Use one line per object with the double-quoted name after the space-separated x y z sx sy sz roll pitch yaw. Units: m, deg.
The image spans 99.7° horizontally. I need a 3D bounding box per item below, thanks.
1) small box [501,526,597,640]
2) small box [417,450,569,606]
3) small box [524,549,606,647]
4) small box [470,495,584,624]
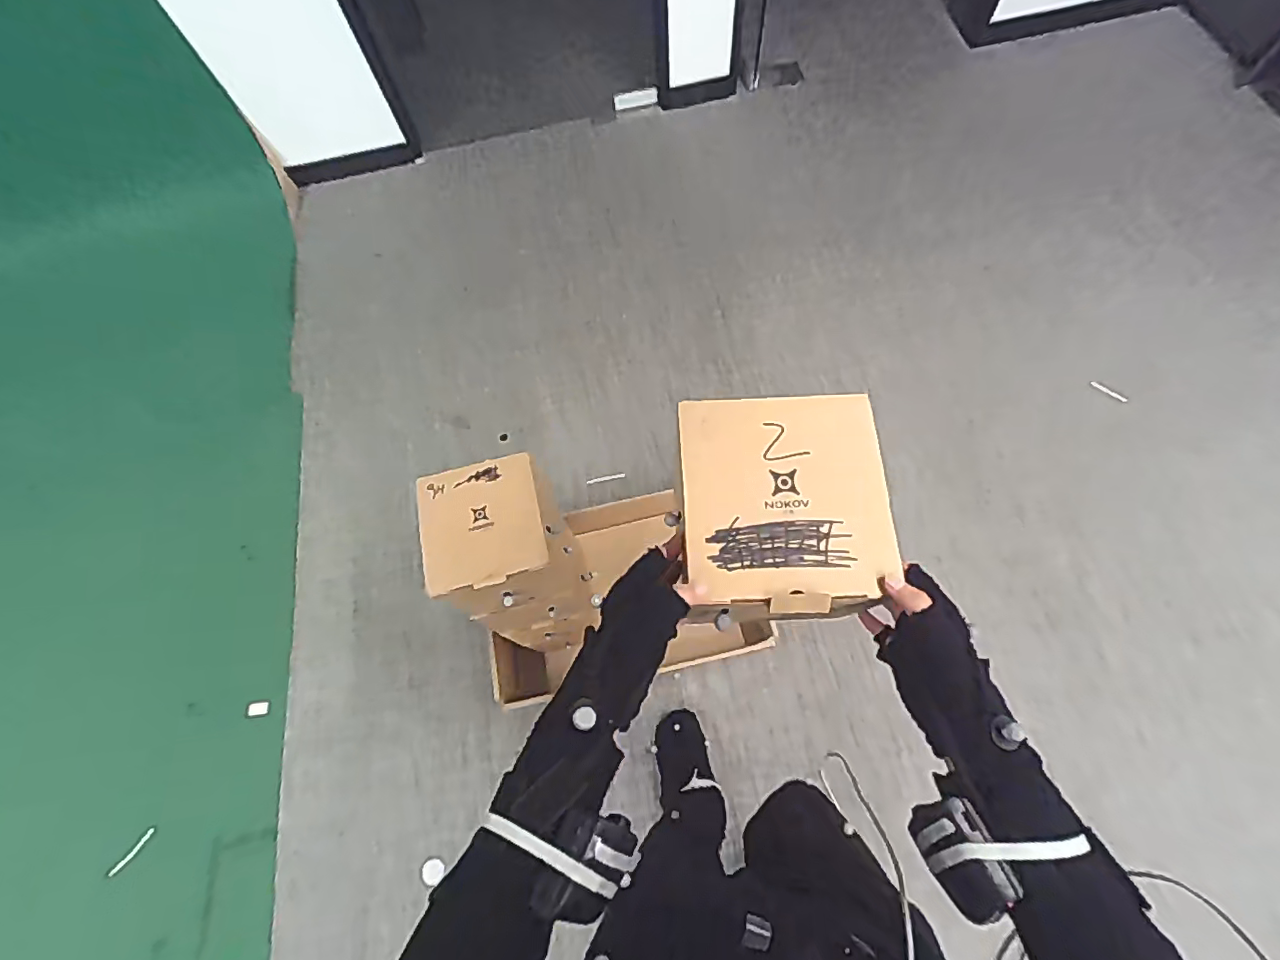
-0.189 0.214 1.102 0.168 0.176 0.179 -13 67 -2 "small box"
-0.210 0.082 0.803 0.168 0.176 0.179 -14 68 -4 "small box"
-0.178 0.277 1.252 0.168 0.176 0.179 -12 68 -1 "small box"
-0.201 0.147 0.953 0.168 0.176 0.179 -14 68 -3 "small box"
